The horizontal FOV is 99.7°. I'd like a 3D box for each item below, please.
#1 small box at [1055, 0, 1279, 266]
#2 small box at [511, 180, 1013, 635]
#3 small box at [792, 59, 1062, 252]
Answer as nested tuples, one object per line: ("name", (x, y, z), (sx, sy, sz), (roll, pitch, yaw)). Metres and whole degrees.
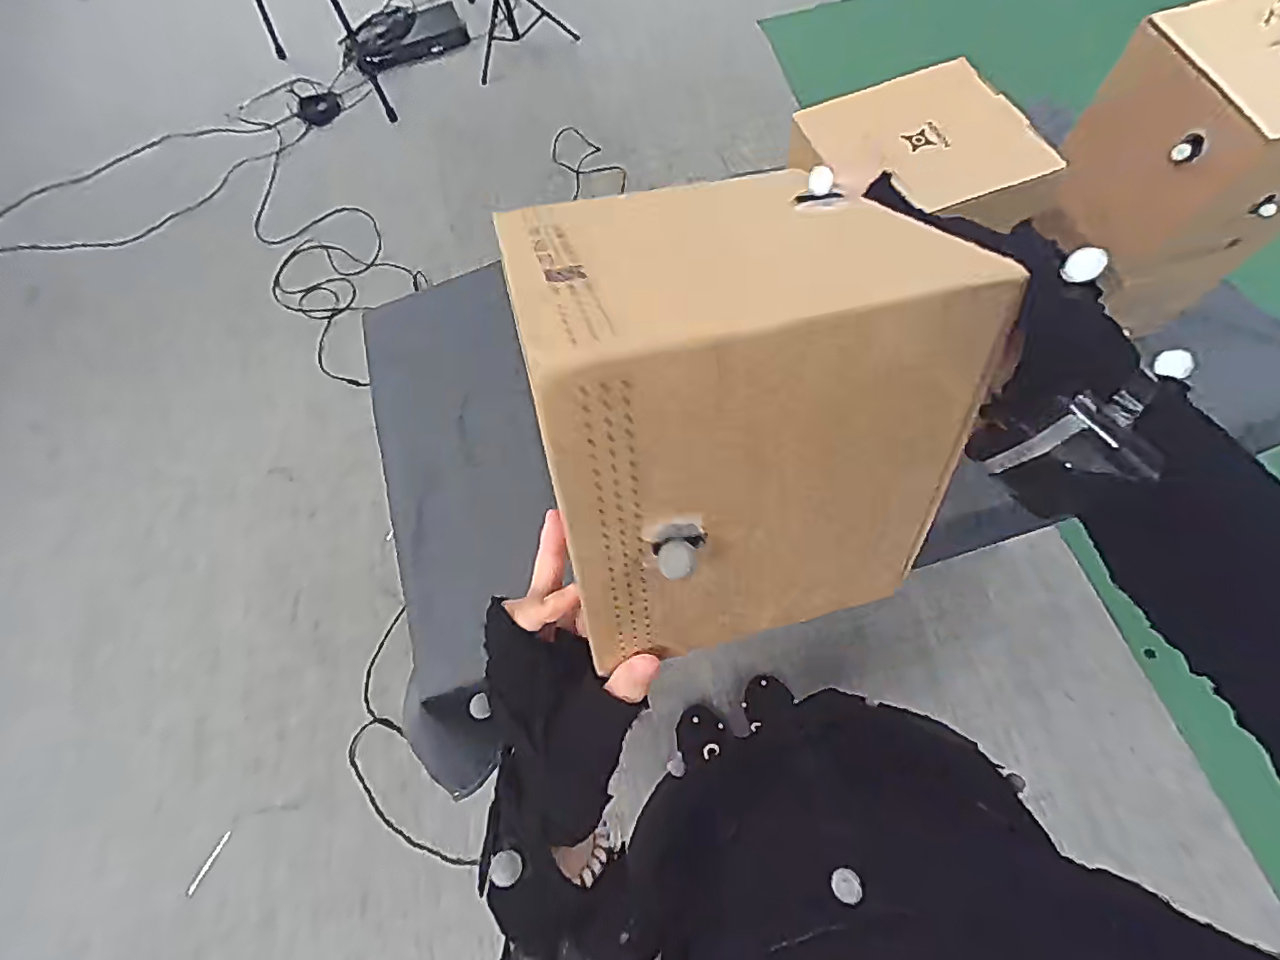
("small box", (0.573, -0.342, 0.544), (0.168, 0.176, 0.179), (-15, 68, 1))
("small box", (0.033, -0.040, 0.283), (0.176, 0.179, 0.168), (-12, 40, -9))
("small box", (0.260, -0.272, 0.555), (0.179, 0.176, 0.168), (-19, 67, -1))
